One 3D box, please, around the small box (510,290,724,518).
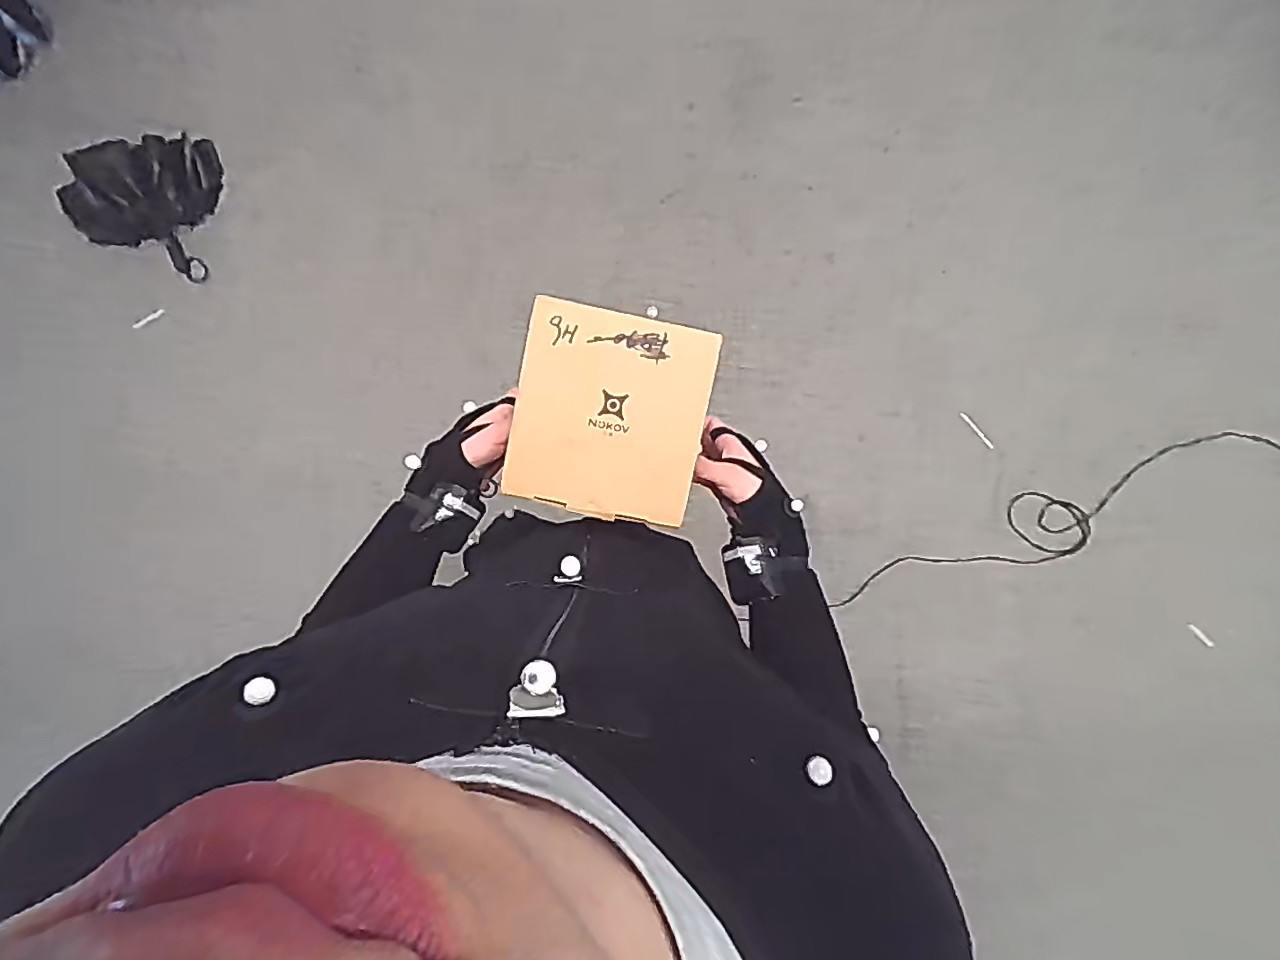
[{"bbox_3d":[-0.024,-0.075,0.552,0.168,0.176,0.179,10,97,-4],"label":"small box"}]
